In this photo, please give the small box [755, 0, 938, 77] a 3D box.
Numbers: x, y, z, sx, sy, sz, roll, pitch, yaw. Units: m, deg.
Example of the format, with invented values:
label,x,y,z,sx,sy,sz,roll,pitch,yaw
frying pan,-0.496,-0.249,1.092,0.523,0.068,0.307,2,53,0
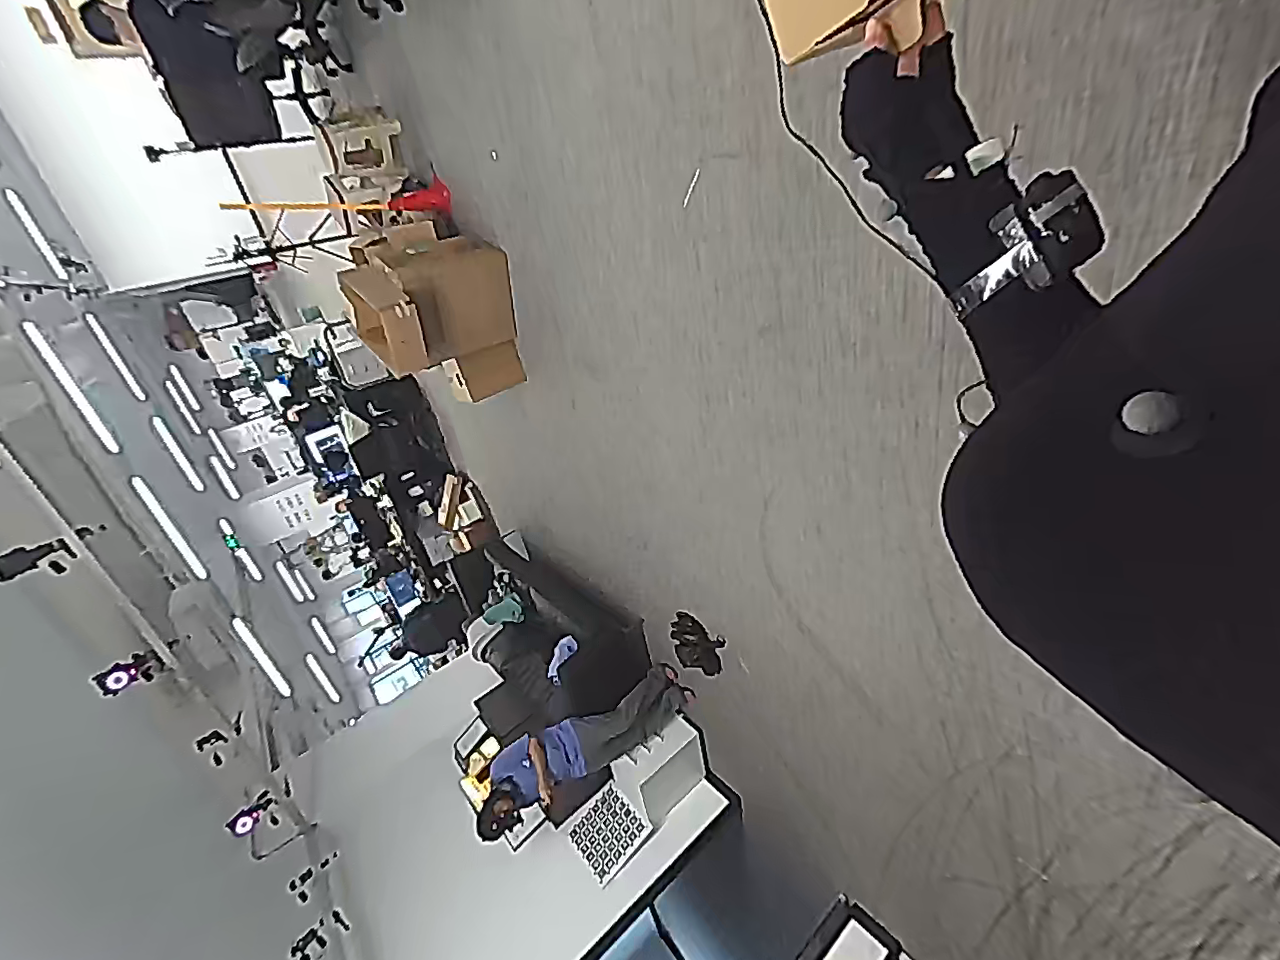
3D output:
label,x,y,z,sx,sy,sz,roll,pitch,yaw
small box,0.185,-0.449,0.397,0.168,0.176,0.179,2,125,52
